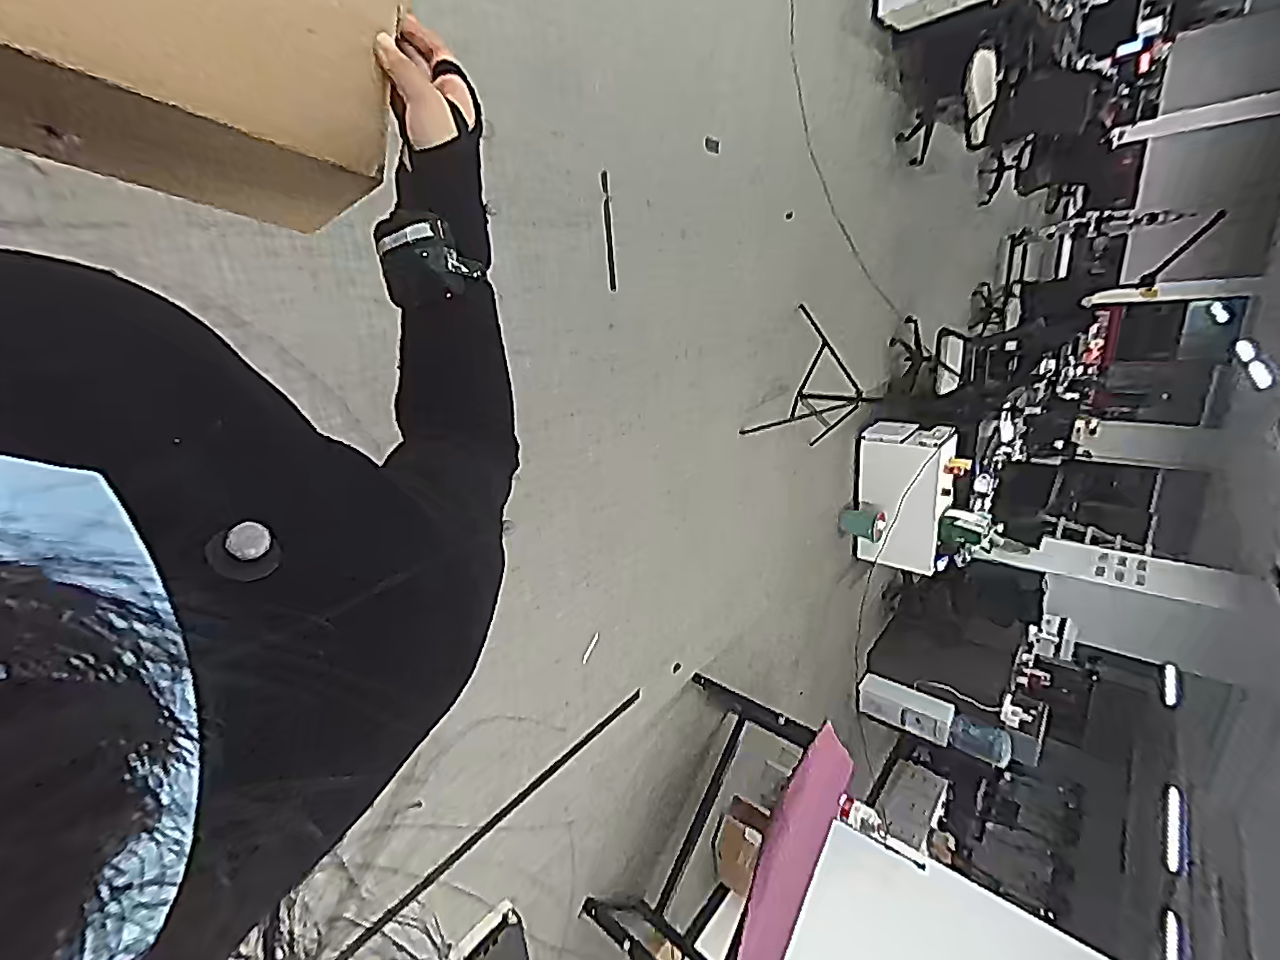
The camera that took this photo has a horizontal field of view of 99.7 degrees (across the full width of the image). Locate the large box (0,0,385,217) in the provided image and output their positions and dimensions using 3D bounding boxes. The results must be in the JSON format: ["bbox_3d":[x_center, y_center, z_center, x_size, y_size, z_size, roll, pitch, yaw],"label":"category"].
[{"bbox_3d":[-0.438,-0.436,0.402,0.408,0.320,0.320,2,99,-40],"label":"large box"}]
